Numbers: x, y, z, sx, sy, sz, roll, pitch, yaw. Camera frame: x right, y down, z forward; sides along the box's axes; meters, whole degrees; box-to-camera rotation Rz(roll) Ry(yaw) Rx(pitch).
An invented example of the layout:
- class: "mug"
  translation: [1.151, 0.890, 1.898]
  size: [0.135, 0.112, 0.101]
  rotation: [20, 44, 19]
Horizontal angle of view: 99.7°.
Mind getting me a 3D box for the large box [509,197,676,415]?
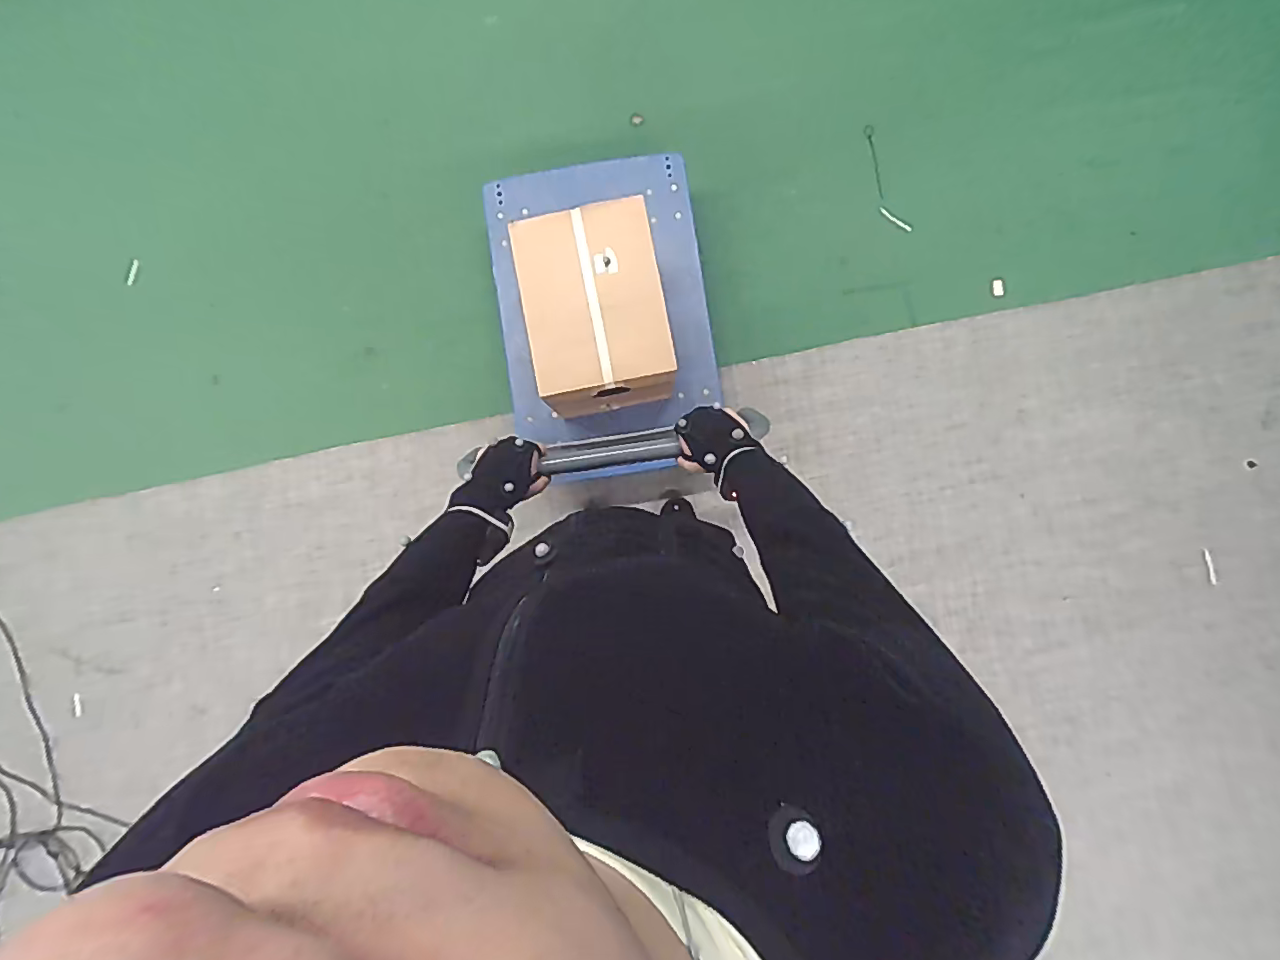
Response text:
- class: "large box"
  translation: [-0.102, -0.406, 1.353]
  size: [0.320, 0.320, 0.408]
  rotation: [-11, 88, 1]
